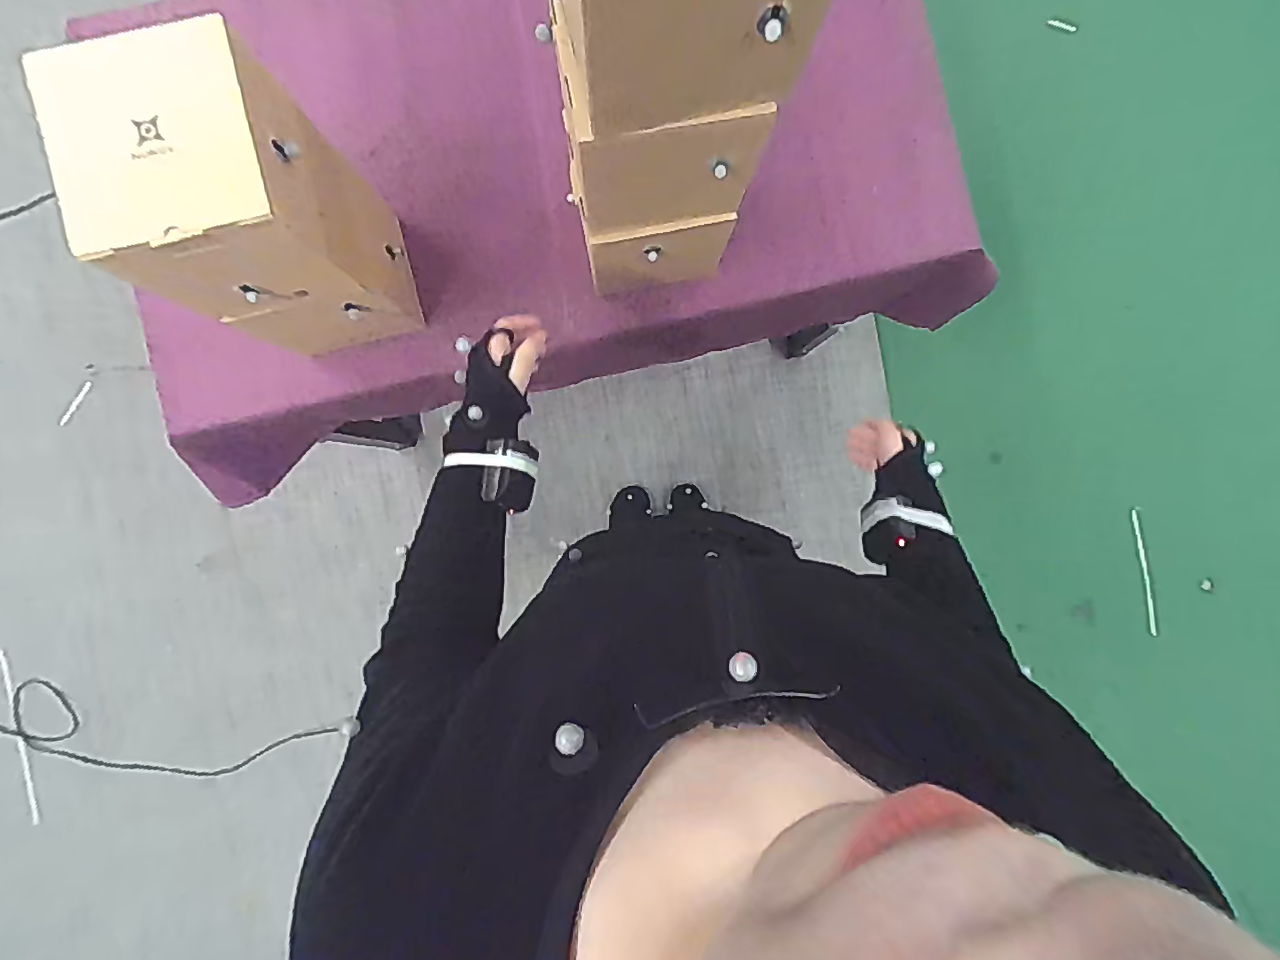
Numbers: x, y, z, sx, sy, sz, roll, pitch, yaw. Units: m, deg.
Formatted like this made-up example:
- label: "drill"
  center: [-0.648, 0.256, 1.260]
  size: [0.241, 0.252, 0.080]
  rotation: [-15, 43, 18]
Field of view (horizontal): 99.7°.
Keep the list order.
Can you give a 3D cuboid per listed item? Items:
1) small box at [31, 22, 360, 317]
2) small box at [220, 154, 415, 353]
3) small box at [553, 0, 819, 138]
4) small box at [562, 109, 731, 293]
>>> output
- label: "small box"
  center: [-0.408, -0.283, 0.530]
  size: [0.168, 0.176, 0.179]
  rotation: [-14, 91, -2]
- label: "small box"
  center: [-0.410, -0.276, 0.694]
  size: [0.179, 0.176, 0.168]
  rotation: [-13, 90, -2]
- label: "small box"
  center: [0.024, -0.383, 0.379]
  size: [0.179, 0.176, 0.168]
  rotation: [-13, 89, -2]
- label: "small box"
  center: [0.006, -0.361, 0.707]
  size: [0.179, 0.176, 0.168]
  rotation: [-11, 90, -2]
